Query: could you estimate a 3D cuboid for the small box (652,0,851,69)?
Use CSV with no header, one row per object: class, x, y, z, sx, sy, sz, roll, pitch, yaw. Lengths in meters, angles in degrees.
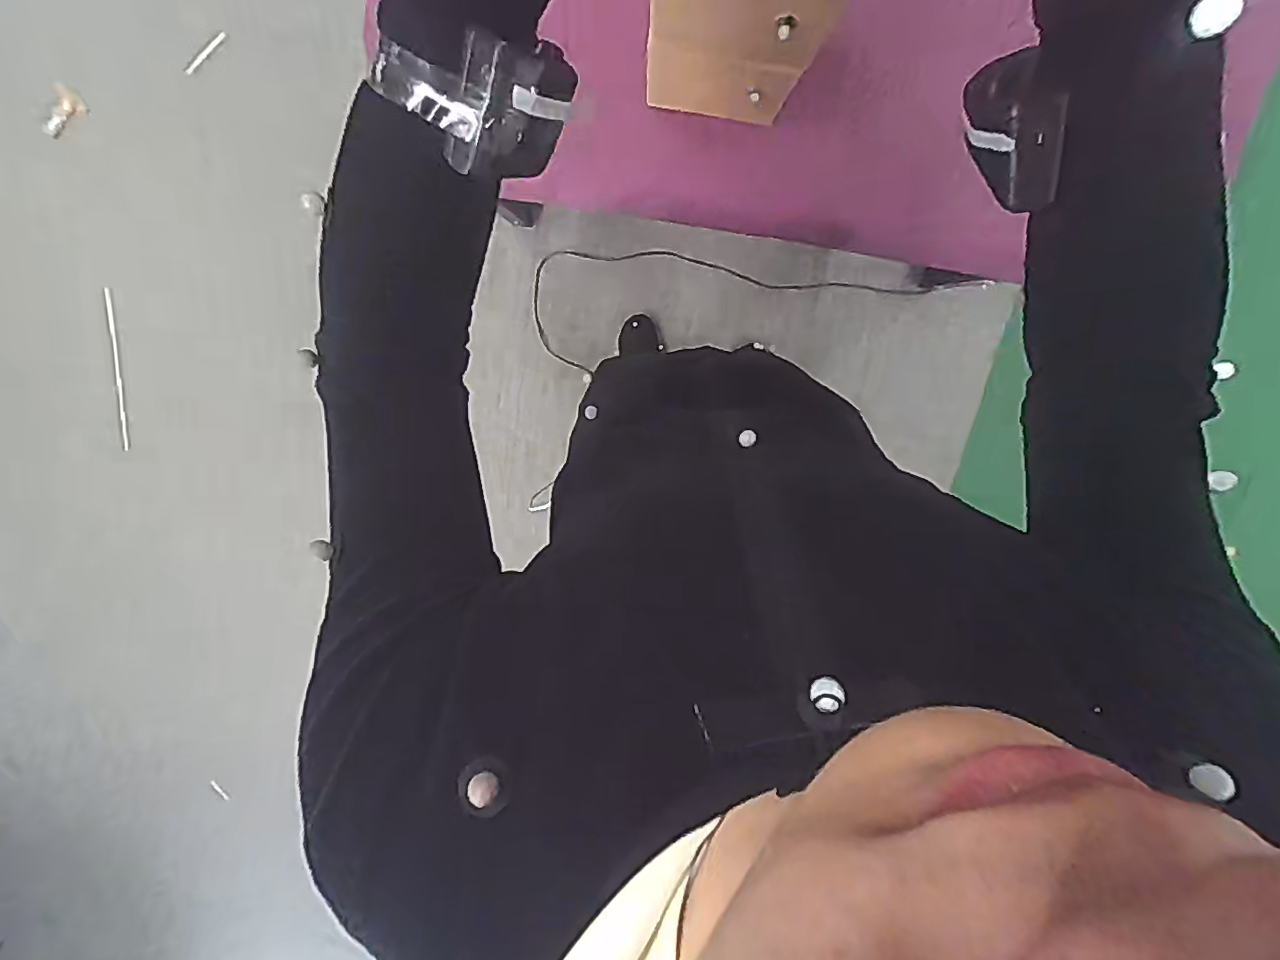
small box,0.109,-0.515,0.496,0.179,0.176,0.168,9,105,-1
